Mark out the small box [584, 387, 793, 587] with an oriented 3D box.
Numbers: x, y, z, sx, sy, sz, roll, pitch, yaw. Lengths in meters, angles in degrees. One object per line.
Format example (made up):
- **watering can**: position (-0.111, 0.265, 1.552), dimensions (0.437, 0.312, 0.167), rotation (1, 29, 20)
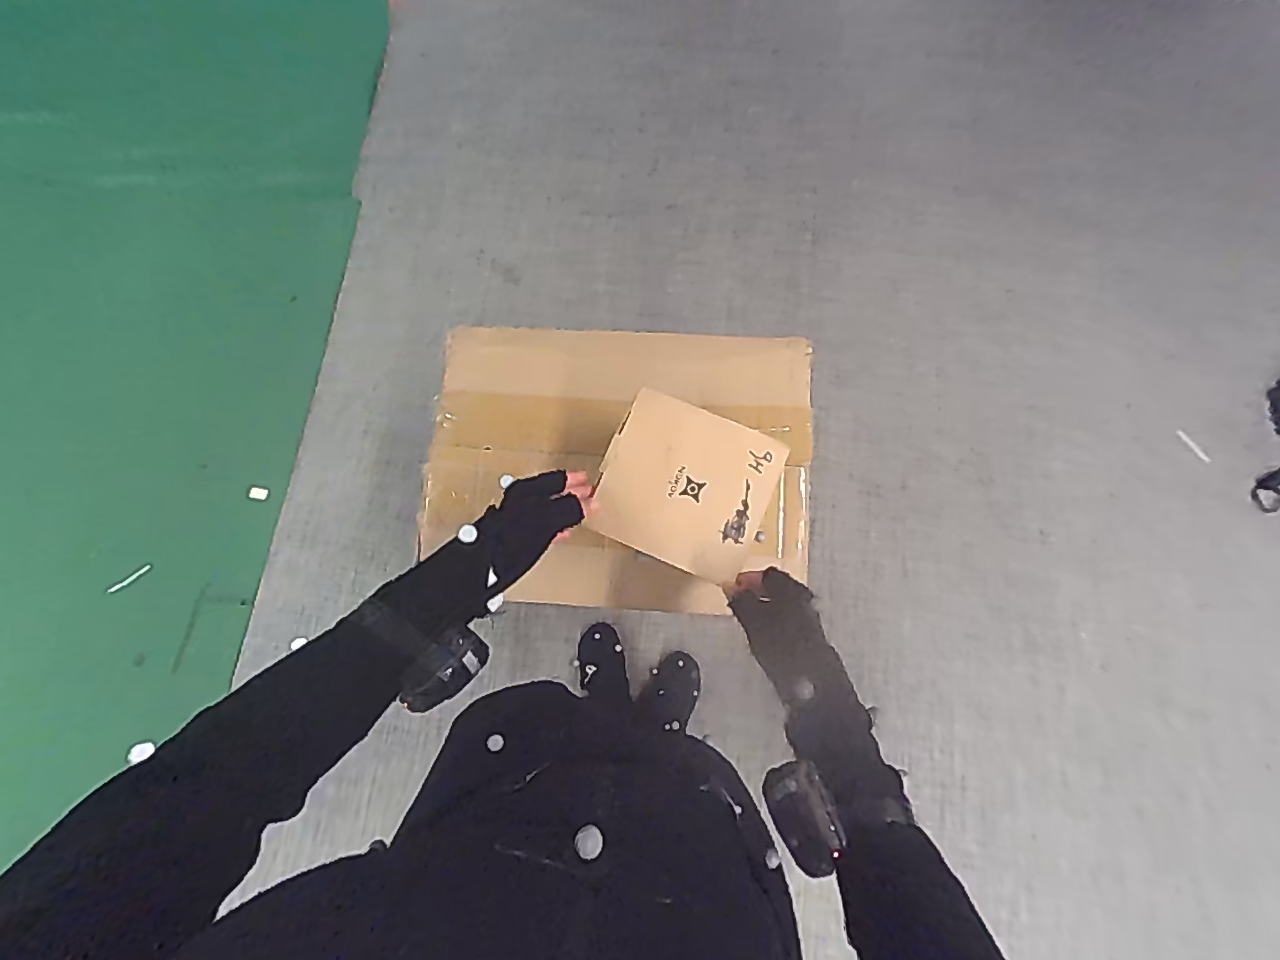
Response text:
- **small box**: position (0.055, 0.016, 0.652), dimensions (0.179, 0.176, 0.168), rotation (25, 84, 6)
